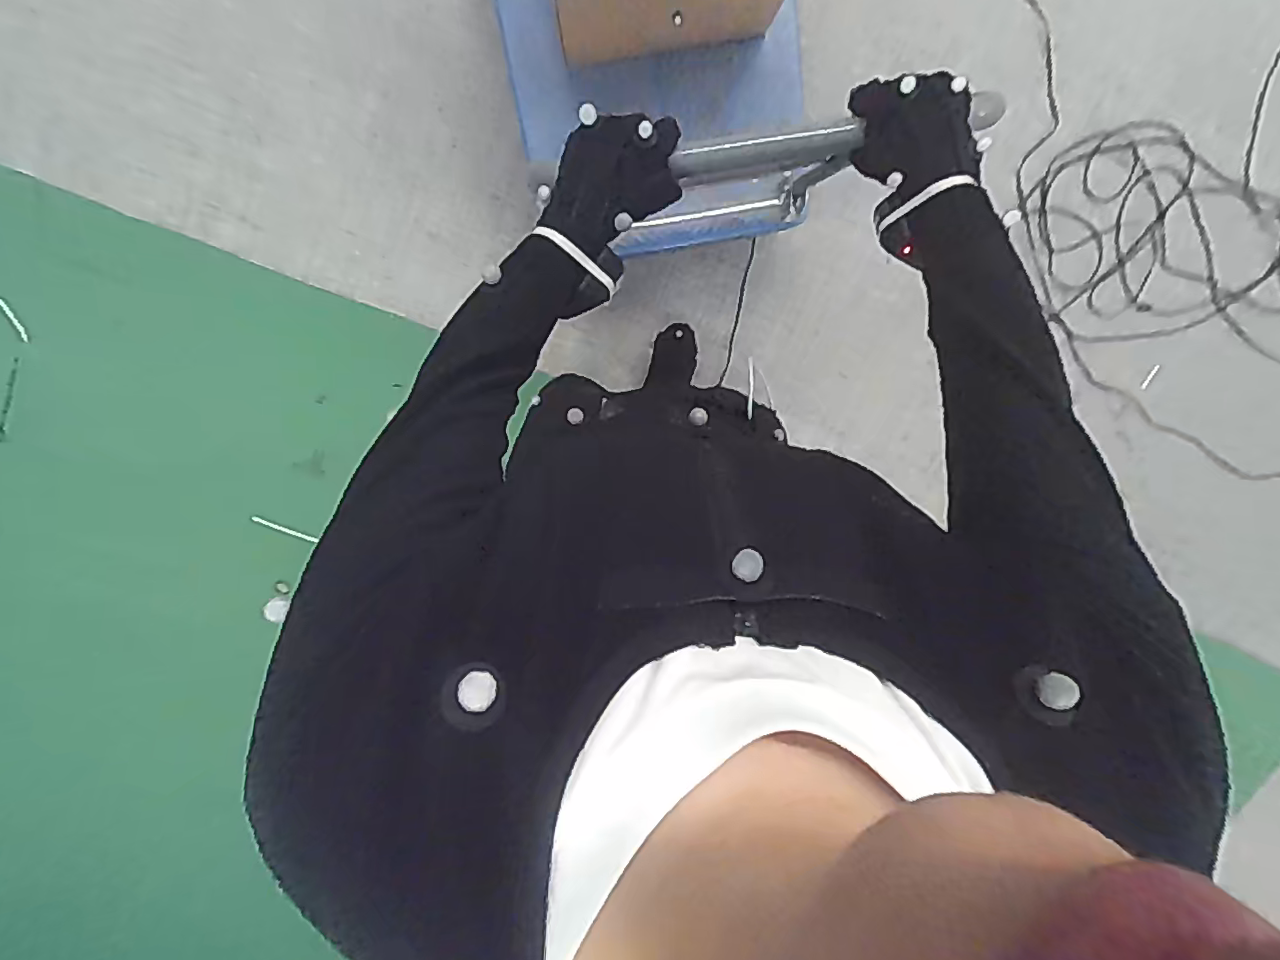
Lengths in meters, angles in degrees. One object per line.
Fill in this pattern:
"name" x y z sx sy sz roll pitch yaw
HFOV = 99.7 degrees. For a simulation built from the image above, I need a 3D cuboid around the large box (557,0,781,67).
"large box" 0.039 -0.953 0.886 0.408 0.320 0.320 -11 106 0
